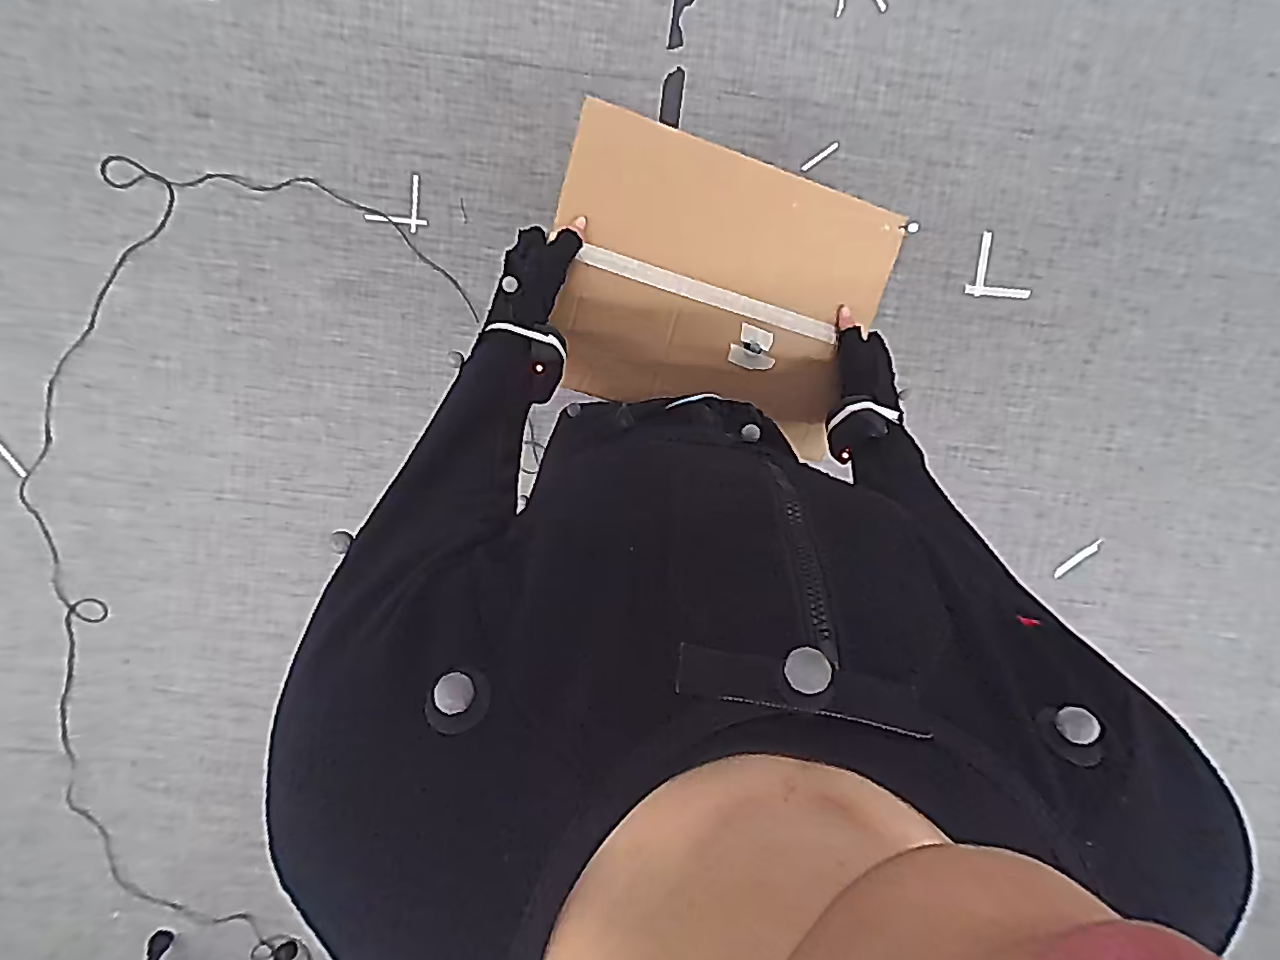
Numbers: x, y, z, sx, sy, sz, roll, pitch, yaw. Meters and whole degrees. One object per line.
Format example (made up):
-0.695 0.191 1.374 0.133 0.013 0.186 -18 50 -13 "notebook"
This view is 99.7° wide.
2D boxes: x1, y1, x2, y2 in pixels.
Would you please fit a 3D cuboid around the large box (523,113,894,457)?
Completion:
0.068 -0.254 0.807 0.408 0.320 0.320 16 102 -9 "large box"
